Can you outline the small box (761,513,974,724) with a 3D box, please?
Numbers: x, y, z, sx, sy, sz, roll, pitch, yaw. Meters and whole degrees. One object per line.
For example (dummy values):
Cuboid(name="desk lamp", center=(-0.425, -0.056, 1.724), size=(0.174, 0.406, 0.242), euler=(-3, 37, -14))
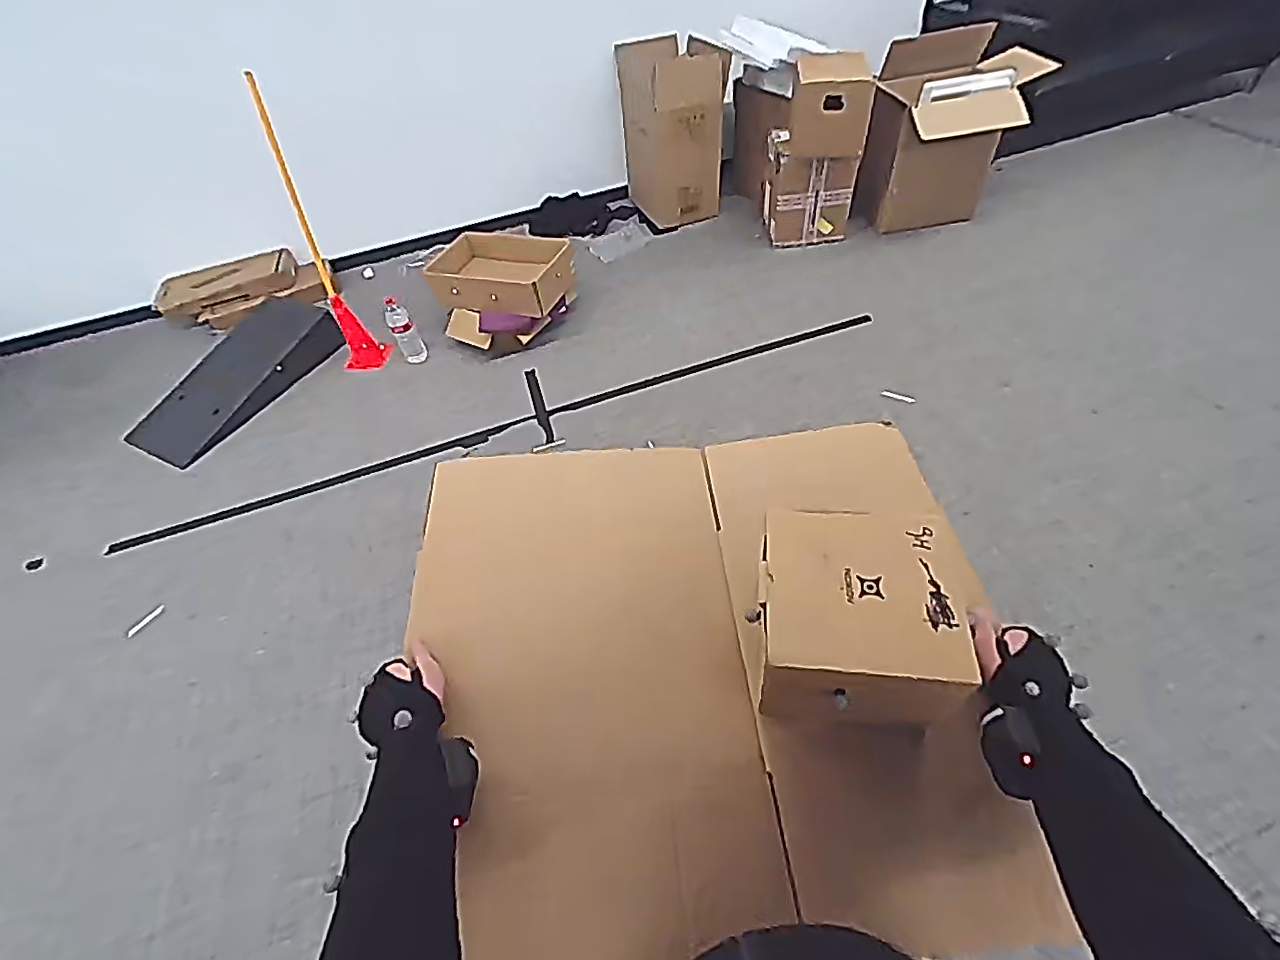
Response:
Cuboid(name="small box", center=(0.219, 0.150, 0.577), size=(0.179, 0.176, 0.168), euler=(1, 54, 12))
